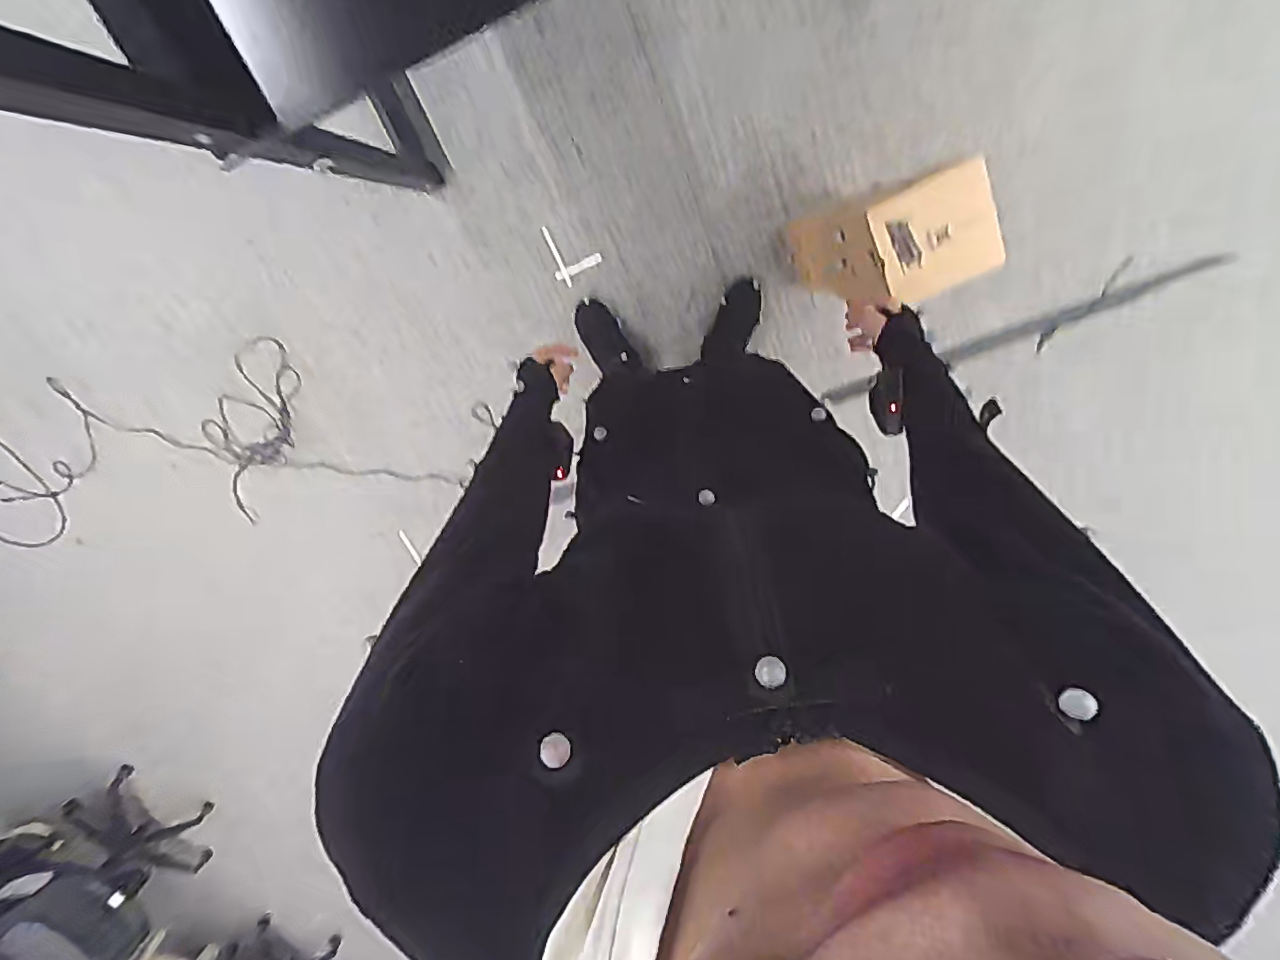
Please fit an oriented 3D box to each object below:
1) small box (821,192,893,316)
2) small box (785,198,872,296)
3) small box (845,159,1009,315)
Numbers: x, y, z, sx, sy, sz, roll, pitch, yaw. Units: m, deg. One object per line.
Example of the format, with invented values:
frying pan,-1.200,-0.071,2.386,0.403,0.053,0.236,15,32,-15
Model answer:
small box,0.473,-0.444,1.047,0.168,0.176,0.179,-23,110,12
small box,0.481,-0.577,1.345,0.179,0.176,0.168,-21,110,12
small box,0.456,-0.392,0.891,0.179,0.176,0.168,-24,110,12
